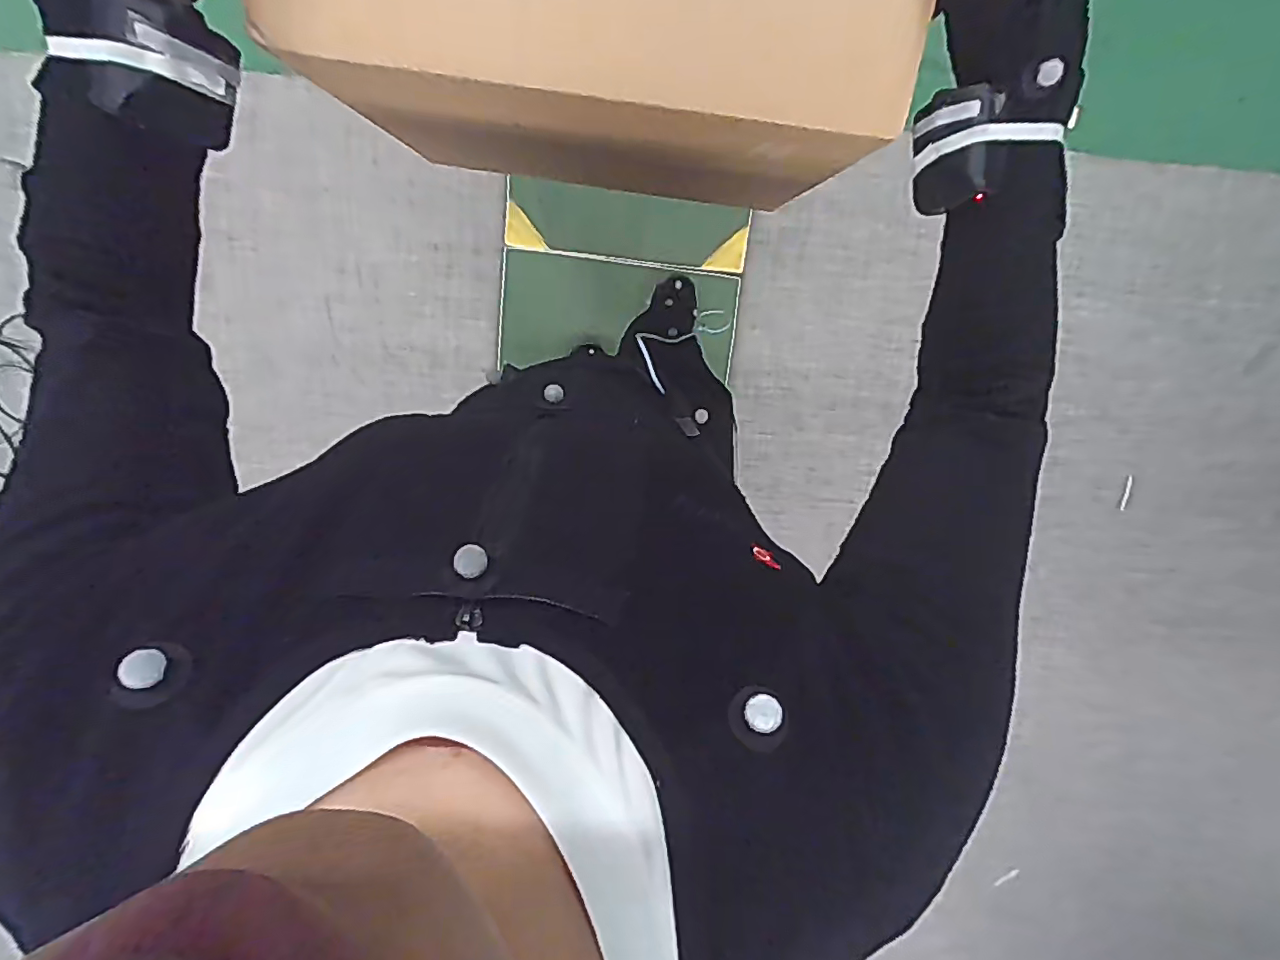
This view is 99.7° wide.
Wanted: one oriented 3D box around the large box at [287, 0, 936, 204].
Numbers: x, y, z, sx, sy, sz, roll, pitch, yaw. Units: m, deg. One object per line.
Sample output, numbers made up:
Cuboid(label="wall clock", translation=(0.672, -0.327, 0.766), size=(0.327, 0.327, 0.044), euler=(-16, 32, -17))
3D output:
Cuboid(label="large box", translation=(-0.011, -0.439, 0.440), size=(0.408, 0.320, 0.320), euler=(5, 109, -4))
